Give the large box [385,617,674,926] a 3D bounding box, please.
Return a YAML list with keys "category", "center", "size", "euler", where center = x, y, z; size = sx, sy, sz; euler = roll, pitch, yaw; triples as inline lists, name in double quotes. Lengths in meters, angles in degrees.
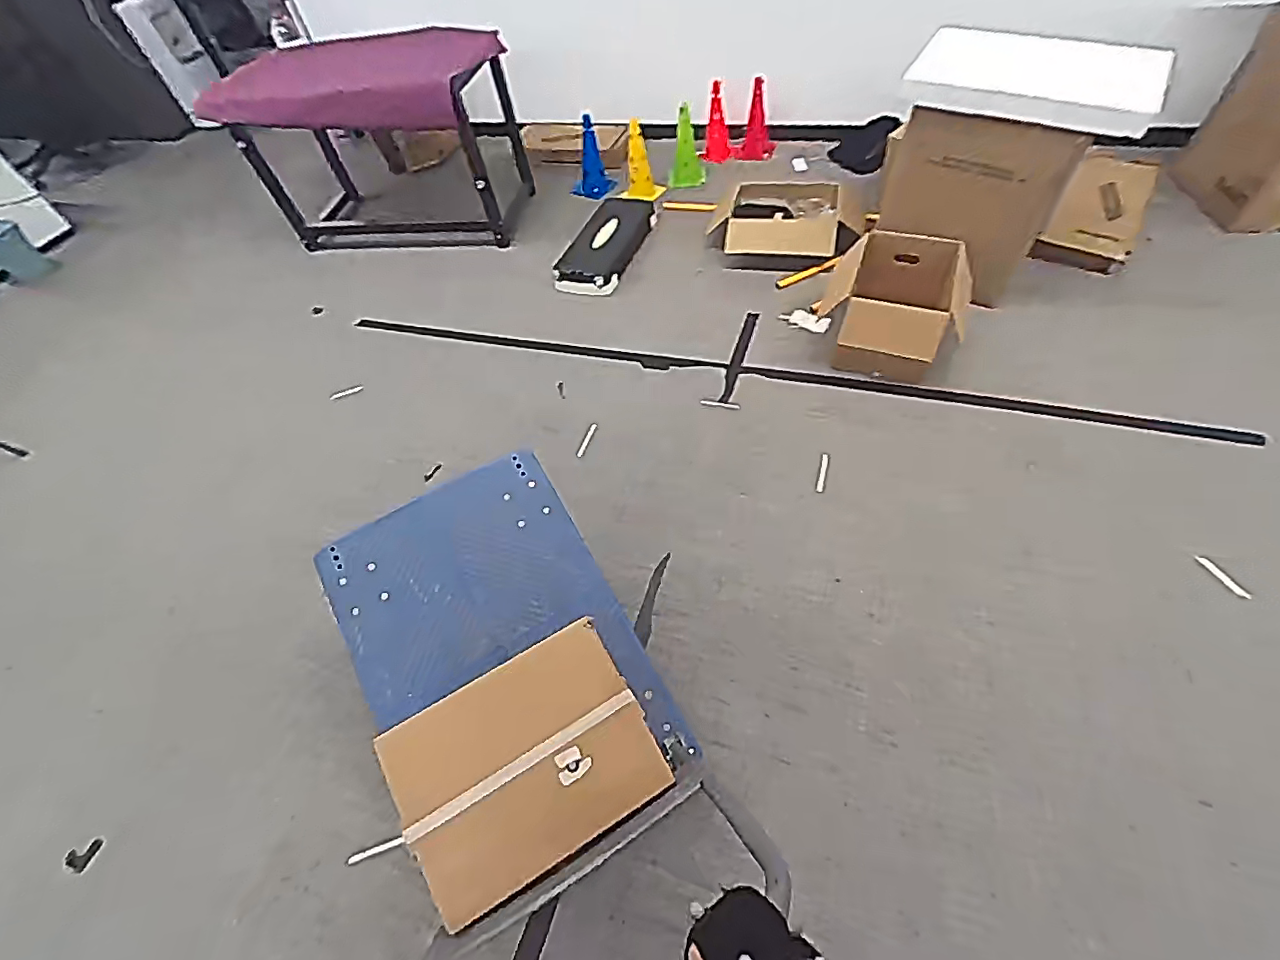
- category: "large box"
  center: [-0.196, 0.524, 1.050]
  size: [0.408, 0.320, 0.320]
  euler: [-29, 74, -15]
